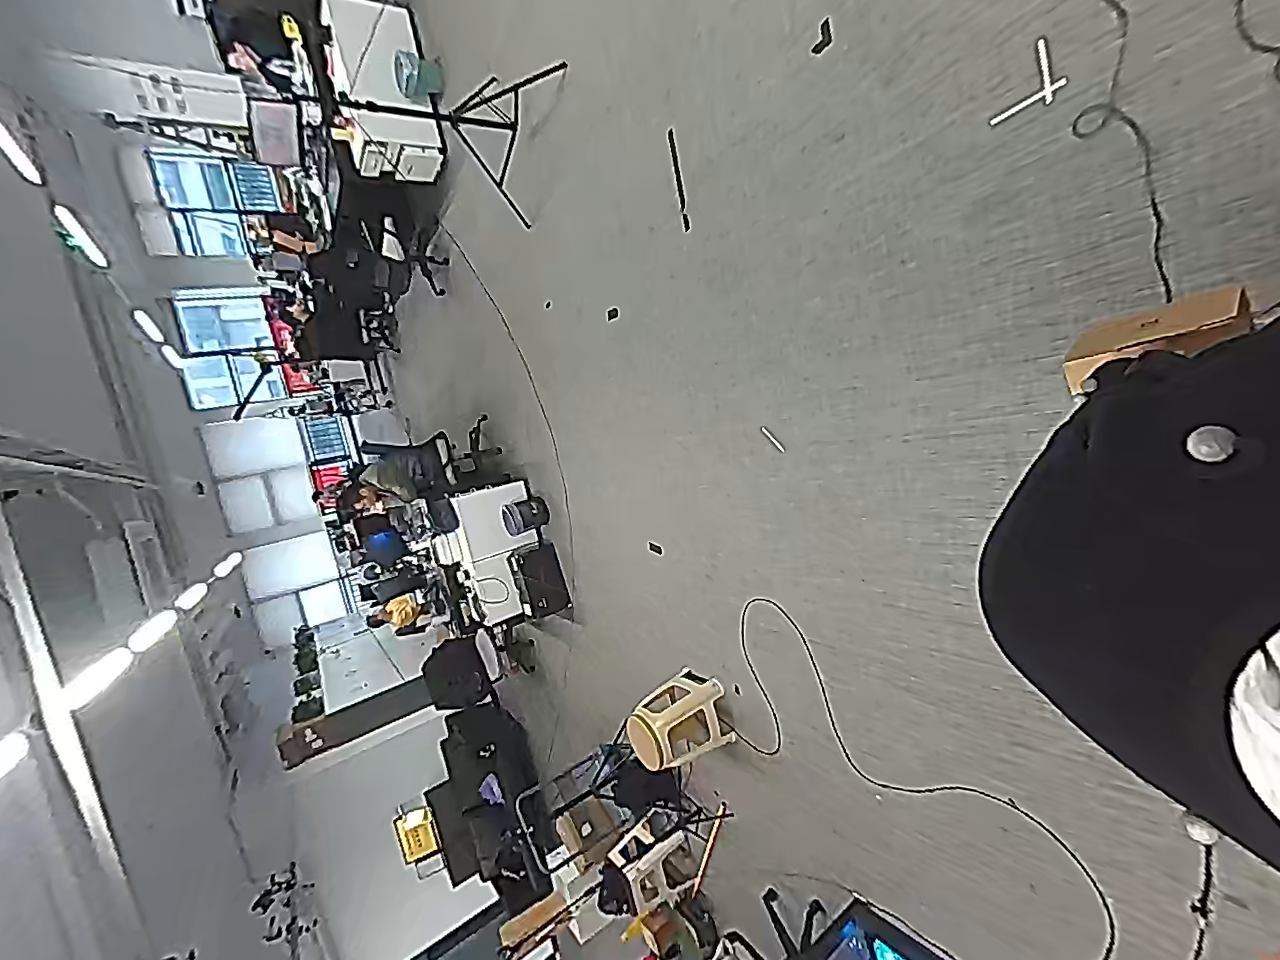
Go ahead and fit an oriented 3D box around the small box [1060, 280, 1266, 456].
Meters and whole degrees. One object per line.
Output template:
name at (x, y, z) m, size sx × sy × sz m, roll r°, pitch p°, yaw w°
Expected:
small box at (0.717, -0.141, 0.741) m, size 0.168 × 0.179 × 0.176 m, roll -12°, pitch 109°, yaw 53°
